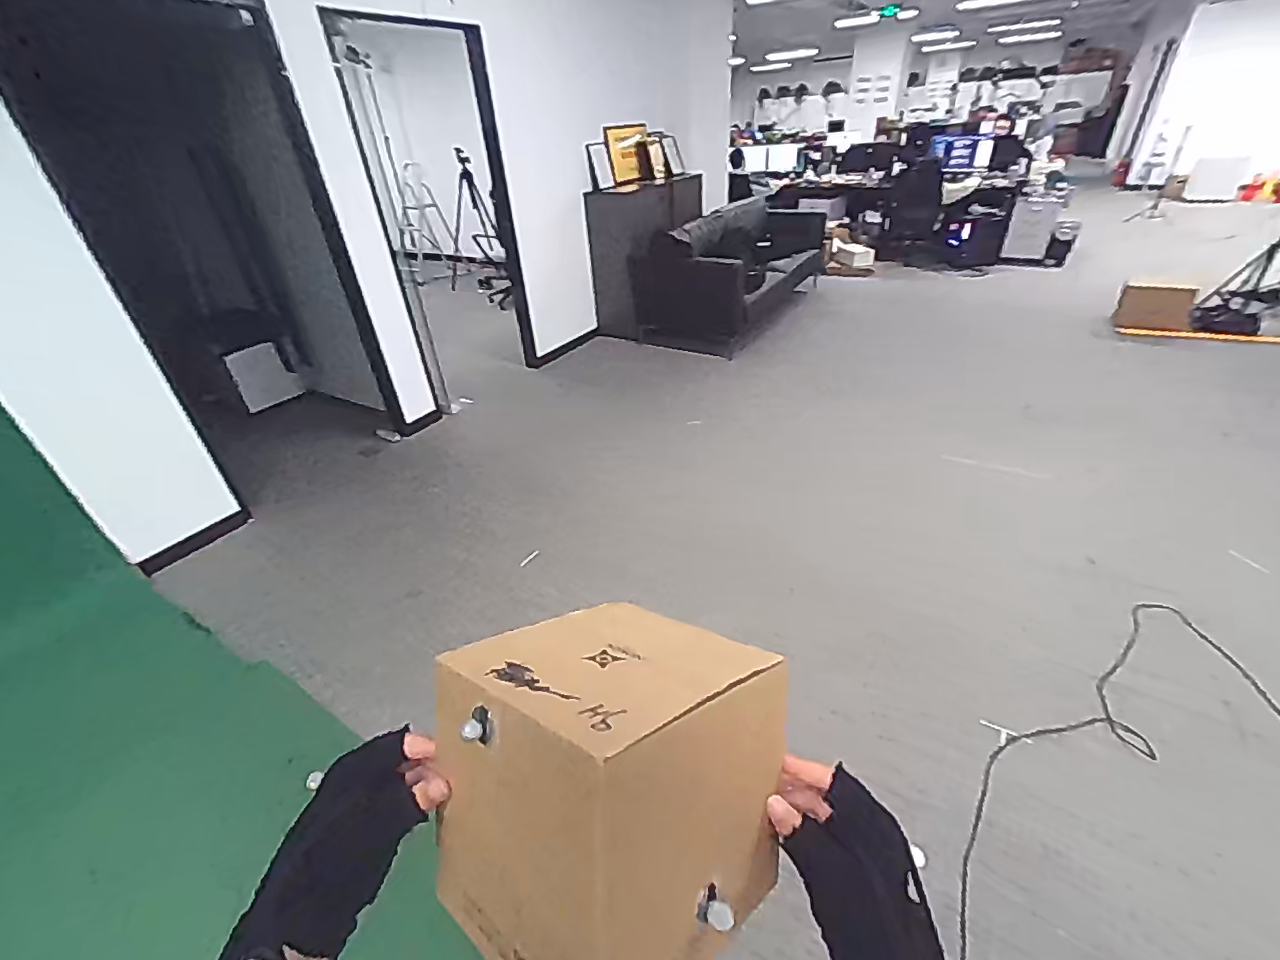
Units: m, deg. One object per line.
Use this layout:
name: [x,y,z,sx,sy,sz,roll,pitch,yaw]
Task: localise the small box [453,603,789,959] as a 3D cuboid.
small box: [-0.015,0.201,0.379,0.168,0.176,0.179,5,5,43]
